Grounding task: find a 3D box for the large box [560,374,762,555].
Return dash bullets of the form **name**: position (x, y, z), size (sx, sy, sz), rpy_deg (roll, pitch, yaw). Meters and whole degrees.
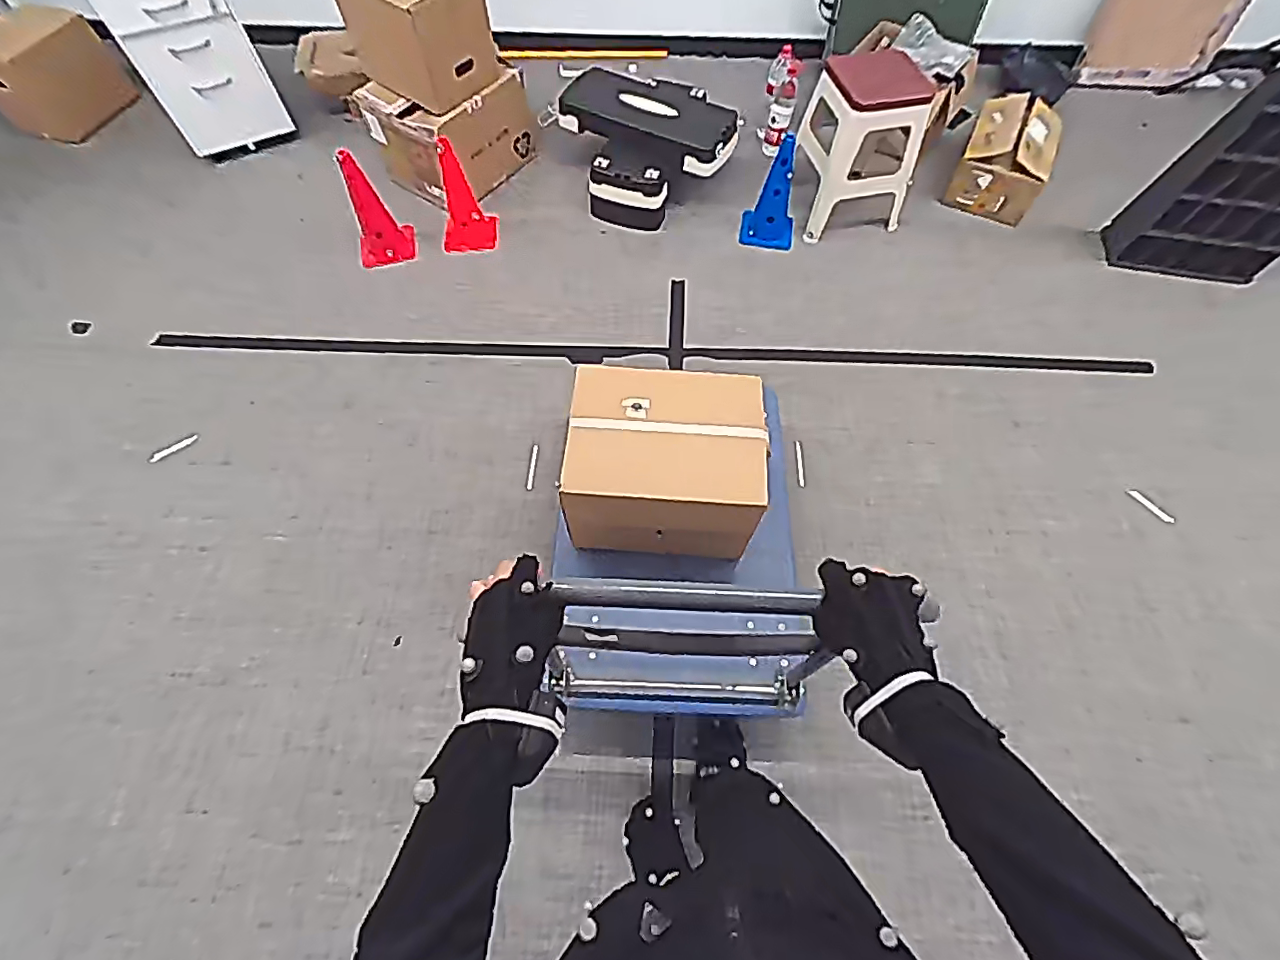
- **large box**: position (0.051, -0.024, 1.252), size (0.408, 0.320, 0.320), rpy_deg (3, 63, 2)
